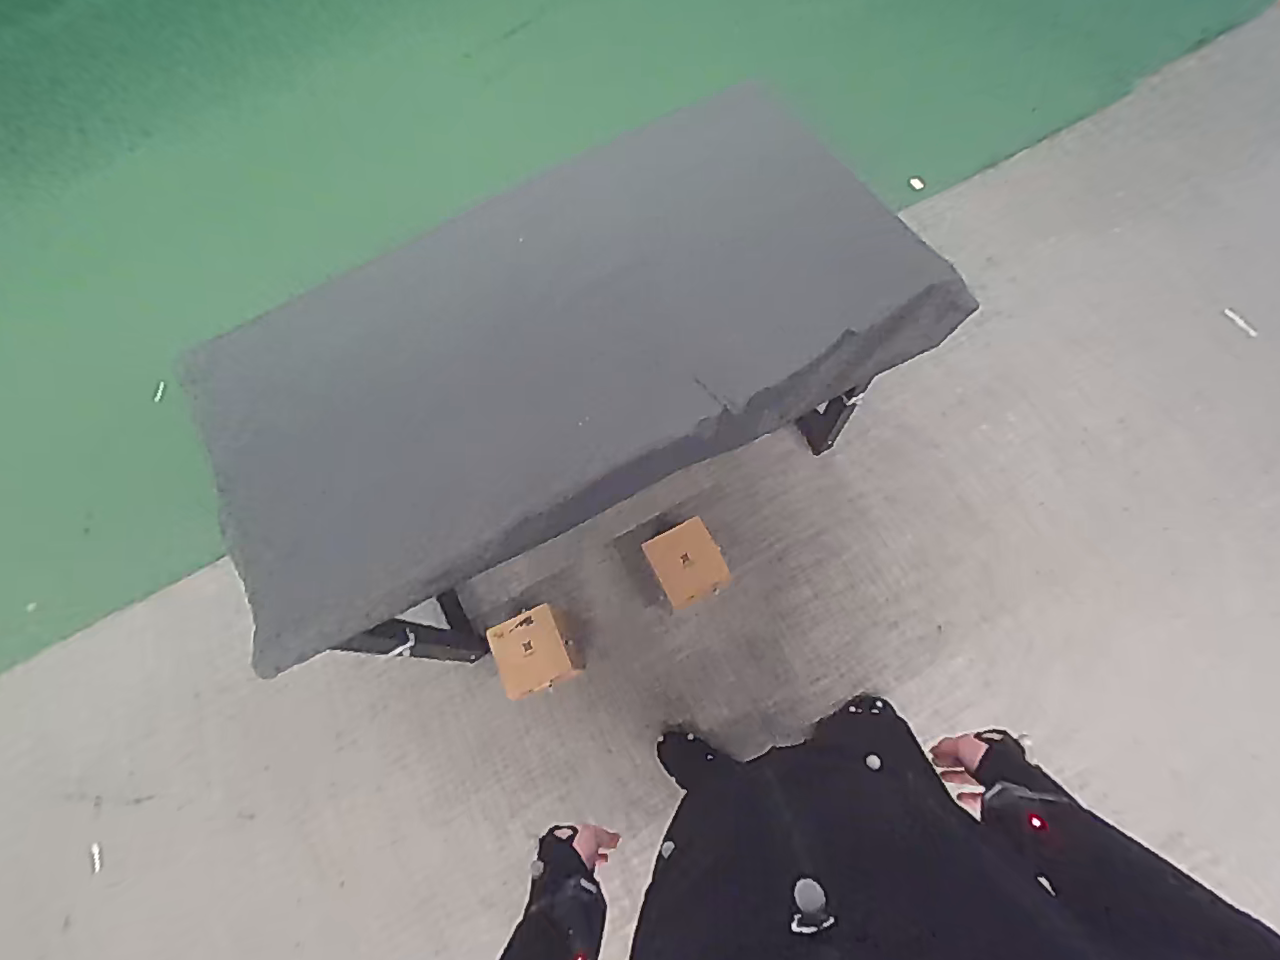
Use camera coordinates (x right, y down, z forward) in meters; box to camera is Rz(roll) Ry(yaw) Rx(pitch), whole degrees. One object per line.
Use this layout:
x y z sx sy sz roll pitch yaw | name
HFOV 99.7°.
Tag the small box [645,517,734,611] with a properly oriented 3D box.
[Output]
0.129 0.227 1.410 0.168 0.176 0.179 -27 67 -6 | small box
